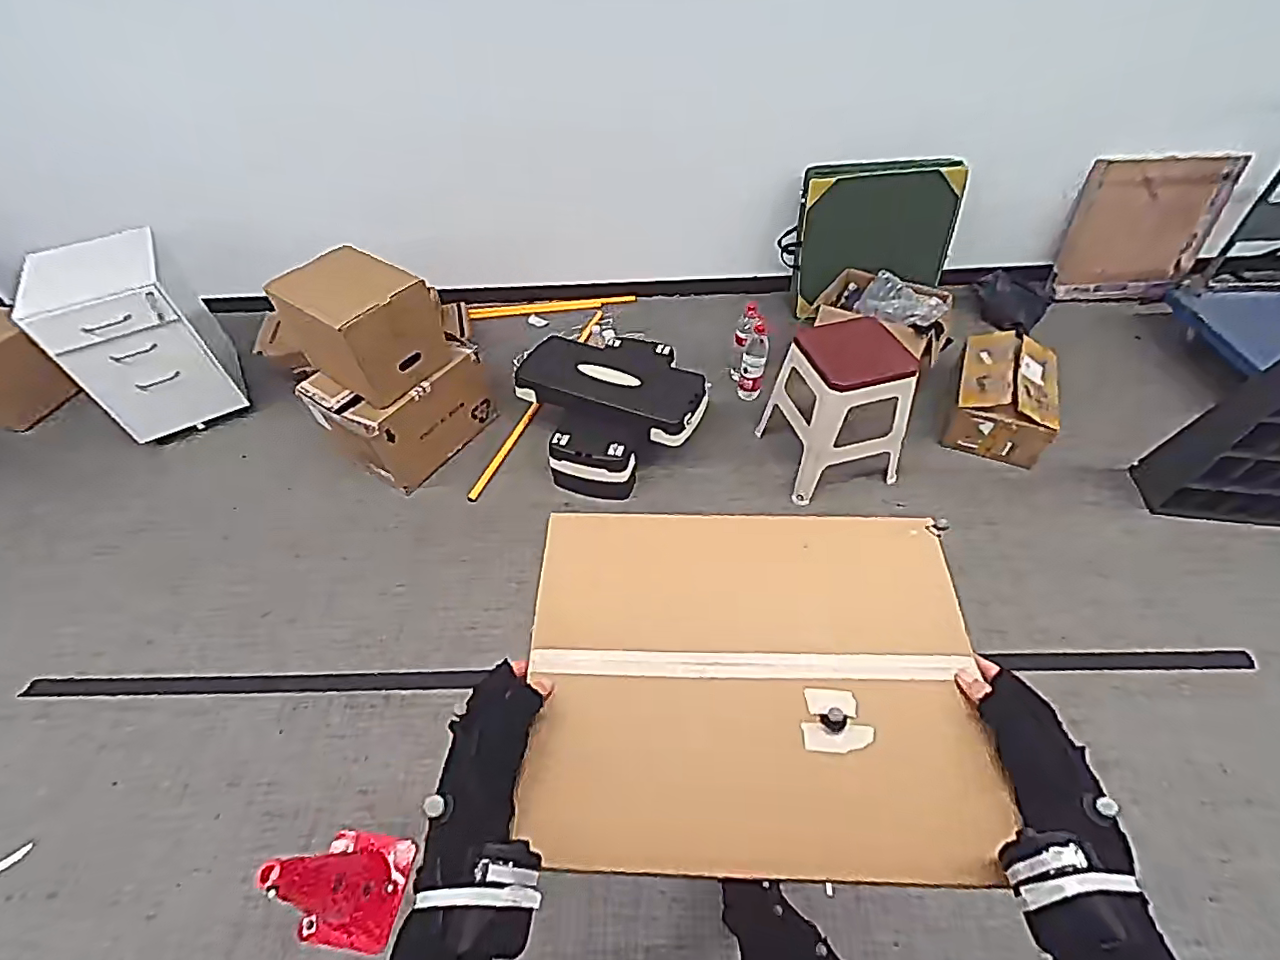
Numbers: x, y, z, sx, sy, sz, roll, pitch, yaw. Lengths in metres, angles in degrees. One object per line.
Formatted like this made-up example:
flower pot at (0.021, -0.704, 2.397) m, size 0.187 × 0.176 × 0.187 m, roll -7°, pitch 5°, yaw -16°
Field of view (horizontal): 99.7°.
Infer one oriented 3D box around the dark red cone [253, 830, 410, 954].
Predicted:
dark red cone at (-0.619, 0.772, 1.038) m, size 0.201 × 0.394 × 0.202 m, roll 4°, pitch 50°, yaw 5°

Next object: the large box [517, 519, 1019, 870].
large box at (0.103, 0.254, 0.628) m, size 0.408 × 0.320 × 0.320 m, roll 1°, pitch 57°, yaw 2°
